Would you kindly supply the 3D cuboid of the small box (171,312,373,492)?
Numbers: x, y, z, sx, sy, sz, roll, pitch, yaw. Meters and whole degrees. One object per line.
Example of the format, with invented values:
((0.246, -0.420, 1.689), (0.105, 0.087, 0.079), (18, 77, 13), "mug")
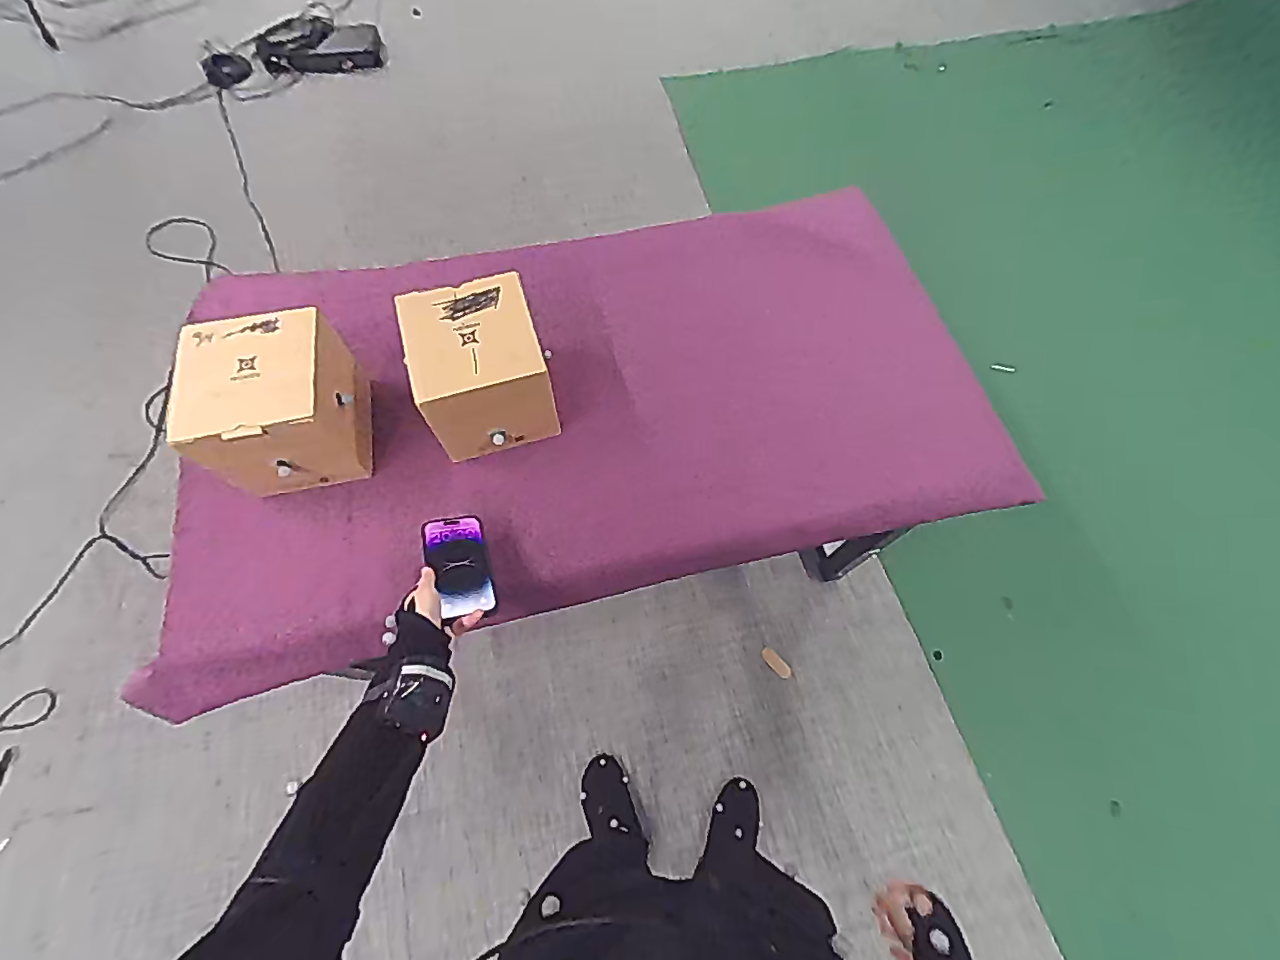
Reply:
((-0.482, -0.095, 0.737), (0.168, 0.176, 0.179), (-11, 67, -6), "small box")

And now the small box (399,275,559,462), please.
((-0.221, -0.152, 0.769), (0.168, 0.176, 0.179), (-16, 67, -8), "small box")
